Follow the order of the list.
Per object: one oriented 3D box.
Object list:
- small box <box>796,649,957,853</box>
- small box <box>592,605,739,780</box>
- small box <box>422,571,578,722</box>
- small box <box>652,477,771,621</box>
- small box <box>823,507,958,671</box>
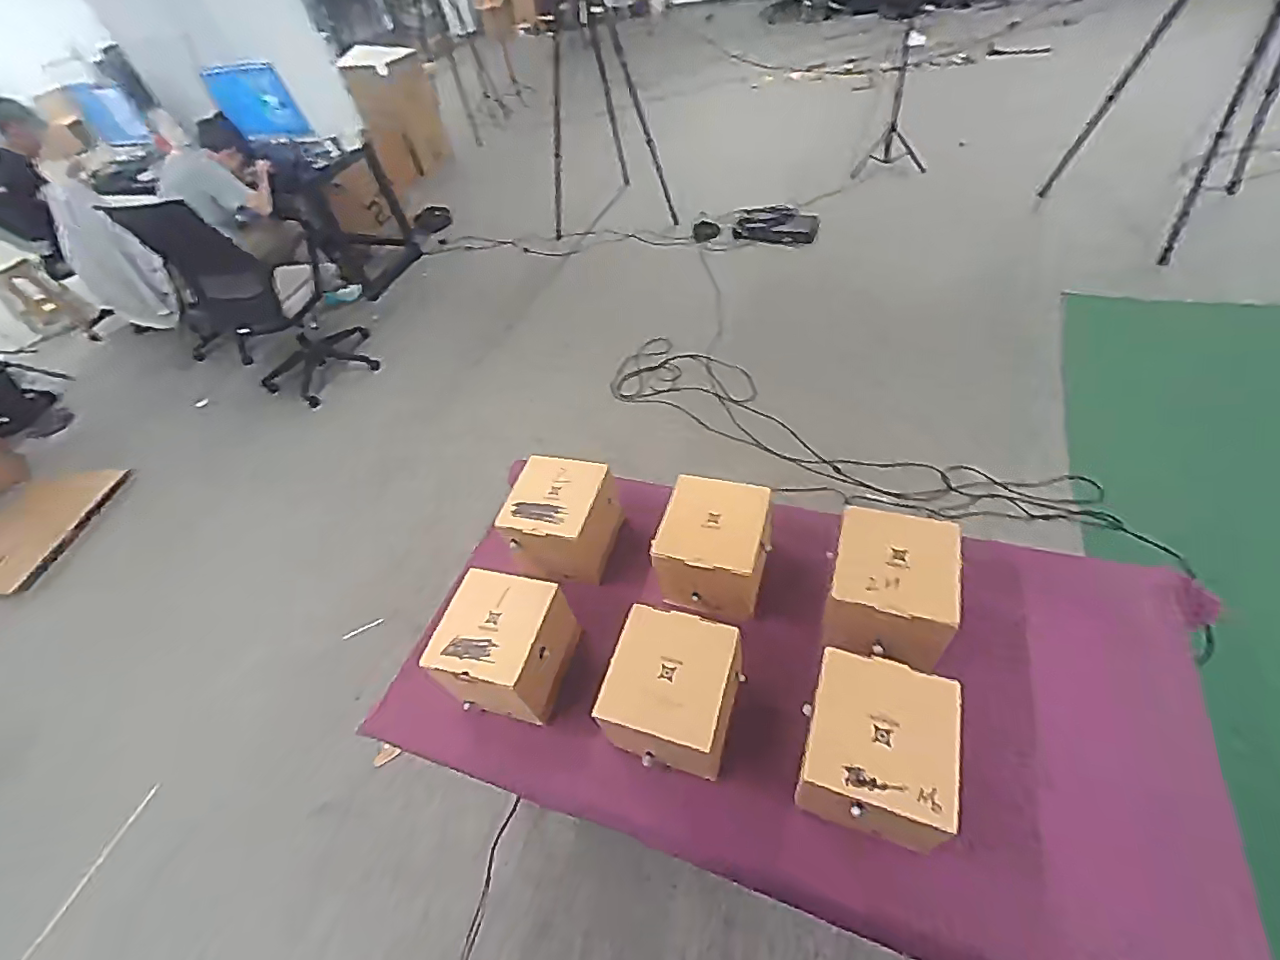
[{"bbox_3d":[0.307,0.360,0.720,0.168,0.176,0.179,11,53,22],"label":"small box"},{"bbox_3d":[0.050,0.320,0.816,0.168,0.176,0.179,9,54,21],"label":"small box"},{"bbox_3d":[-0.219,0.281,0.906,0.168,0.176,0.179,7,50,18],"label":"small box"},{"bbox_3d":[0.134,0.123,0.964,0.168,0.176,0.179,9,54,20],"label":"small box"},{"bbox_3d":[0.391,0.172,0.859,0.168,0.176,0.179,10,54,21],"label":"small box"}]
